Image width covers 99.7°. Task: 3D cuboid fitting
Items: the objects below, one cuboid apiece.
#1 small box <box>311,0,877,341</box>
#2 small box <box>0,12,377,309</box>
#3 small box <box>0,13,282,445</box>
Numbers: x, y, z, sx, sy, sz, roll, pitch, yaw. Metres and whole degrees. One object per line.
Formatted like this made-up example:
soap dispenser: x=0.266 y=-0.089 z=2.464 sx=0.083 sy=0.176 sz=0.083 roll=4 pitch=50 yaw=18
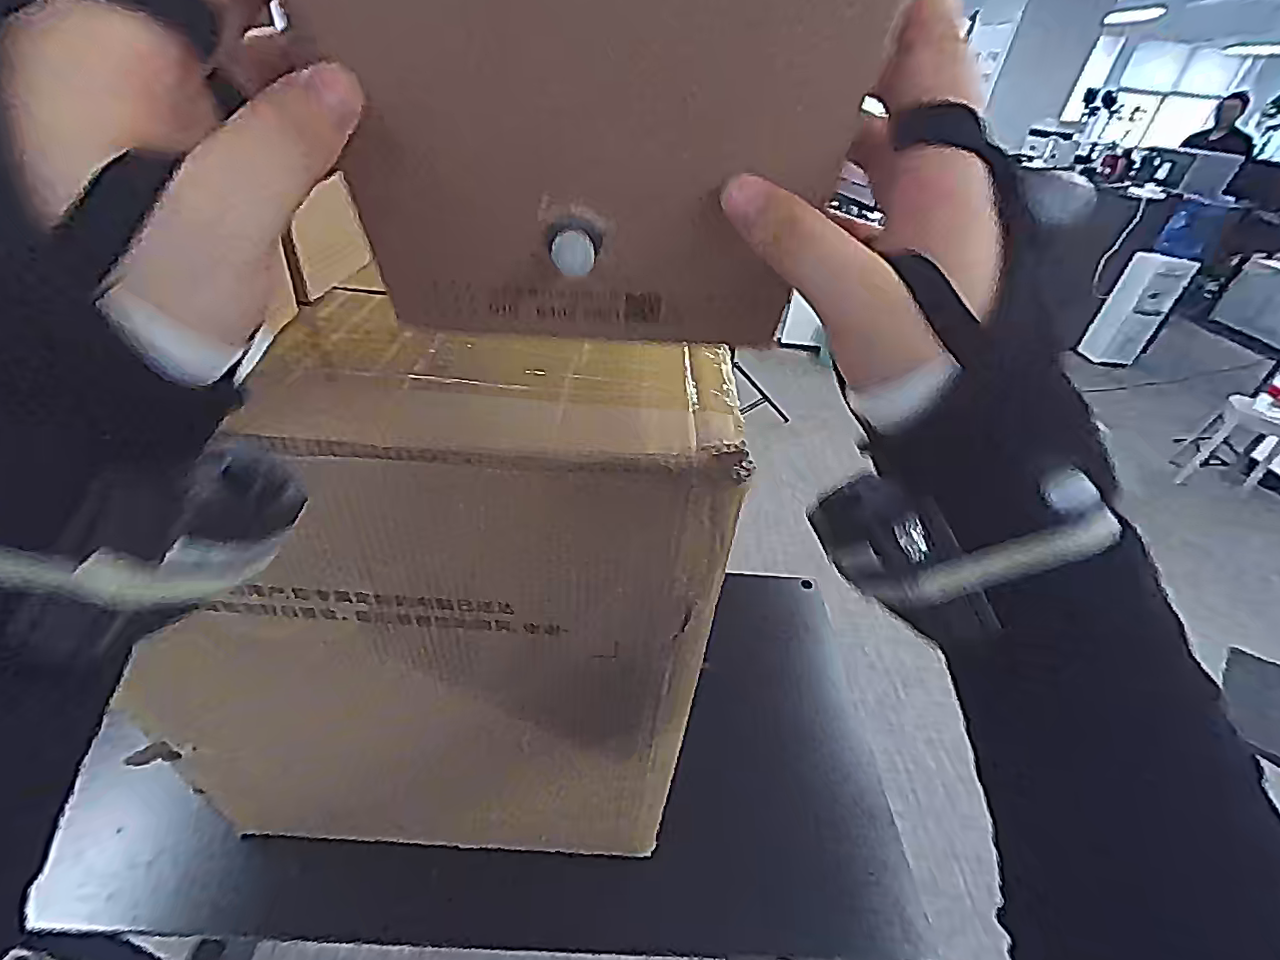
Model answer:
small box: x=-0.021 y=-0.183 z=0.223 sx=0.168 sy=0.176 sz=0.179 roll=1 pitch=57 yaw=-5
small box: x=-0.335 y=-0.254 z=0.441 sx=0.168 sy=0.176 sz=0.179 roll=3 pitch=36 yaw=-3
small box: x=-0.329 y=-0.136 z=0.288 sx=0.168 sy=0.176 sz=0.179 roll=5 pitch=40 yaw=-7
